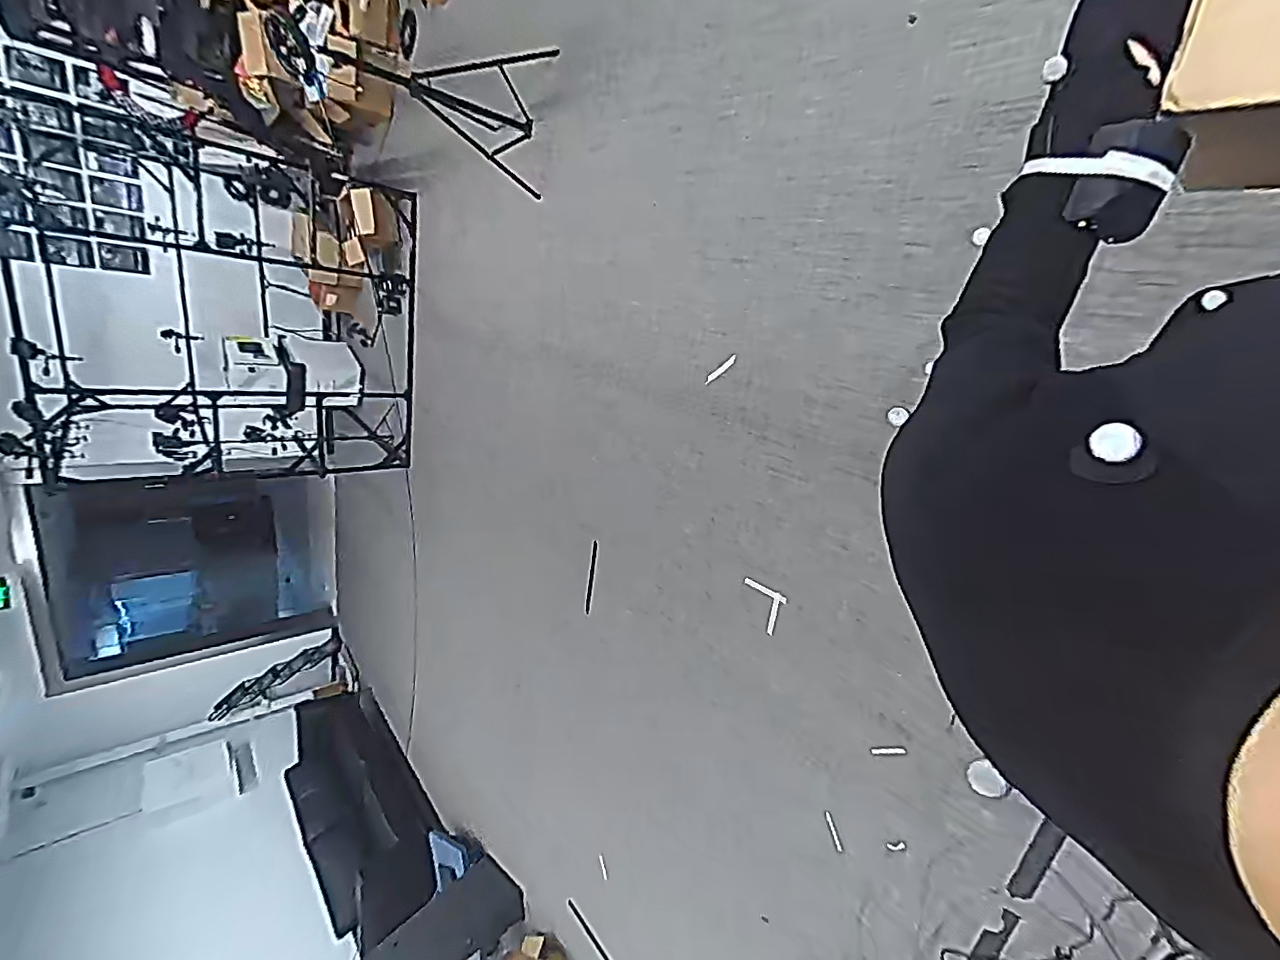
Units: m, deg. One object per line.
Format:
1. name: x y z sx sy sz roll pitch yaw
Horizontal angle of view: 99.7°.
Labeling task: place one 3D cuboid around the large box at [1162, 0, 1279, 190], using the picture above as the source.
1. large box: 0.609 -0.368 0.294 0.408 0.320 0.320 23 118 41
